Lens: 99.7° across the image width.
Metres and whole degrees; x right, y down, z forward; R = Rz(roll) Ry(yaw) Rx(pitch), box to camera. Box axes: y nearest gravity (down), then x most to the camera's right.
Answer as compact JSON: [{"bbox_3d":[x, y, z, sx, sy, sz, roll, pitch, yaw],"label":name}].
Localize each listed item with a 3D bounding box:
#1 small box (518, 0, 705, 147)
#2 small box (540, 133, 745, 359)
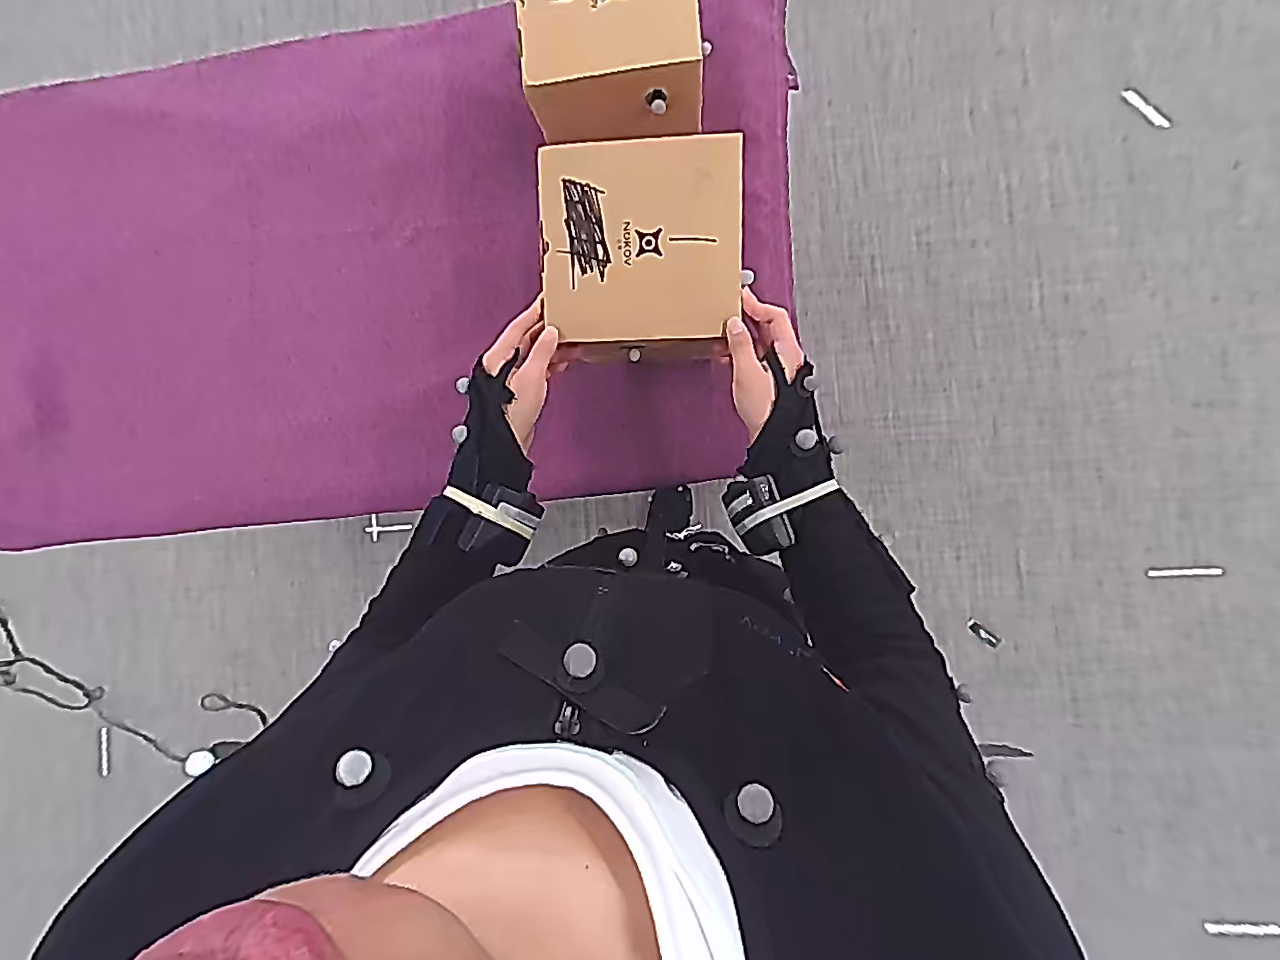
[{"bbox_3d":[-0.023,-0.463,0.591,0.179,0.176,0.168,-4,89,6],"label":"small box"},{"bbox_3d":[0.010,-0.213,0.540,0.179,0.176,0.168,0,97,7],"label":"small box"}]
